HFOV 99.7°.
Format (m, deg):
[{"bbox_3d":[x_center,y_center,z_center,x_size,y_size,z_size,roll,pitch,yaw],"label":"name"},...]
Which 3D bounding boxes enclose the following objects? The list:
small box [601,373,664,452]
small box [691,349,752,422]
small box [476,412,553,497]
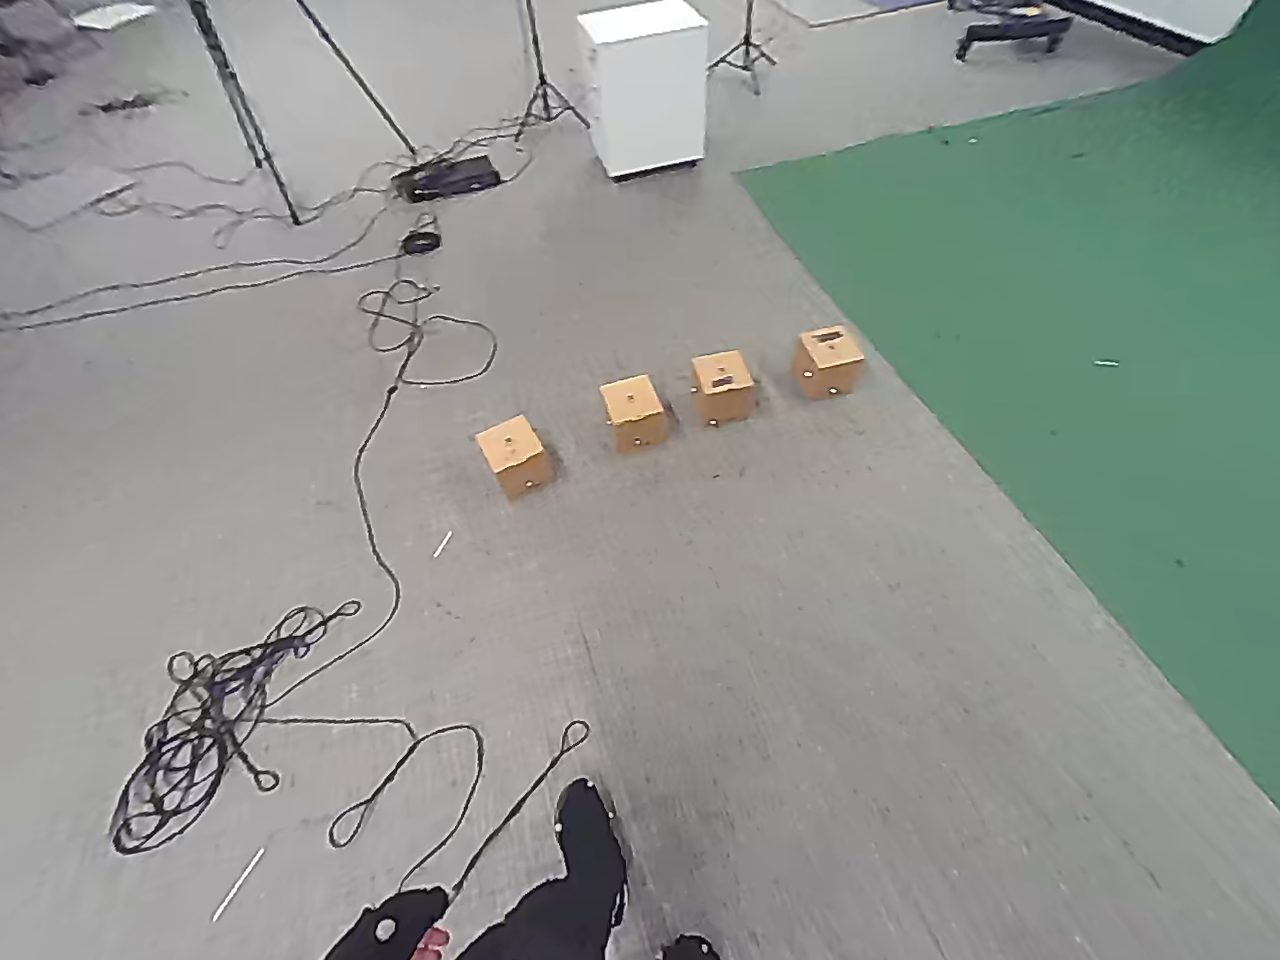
[{"bbox_3d":[-0.025,-0.223,1.801,0.168,0.176,0.179,-17,57,-7],"label":"small box"},{"bbox_3d":[0.272,-0.316,1.843,0.168,0.176,0.179,-11,55,-4],"label":"small box"},{"bbox_3d":[-0.397,-0.078,1.726,0.168,0.176,0.179,-27,59,-13],"label":"small box"}]
